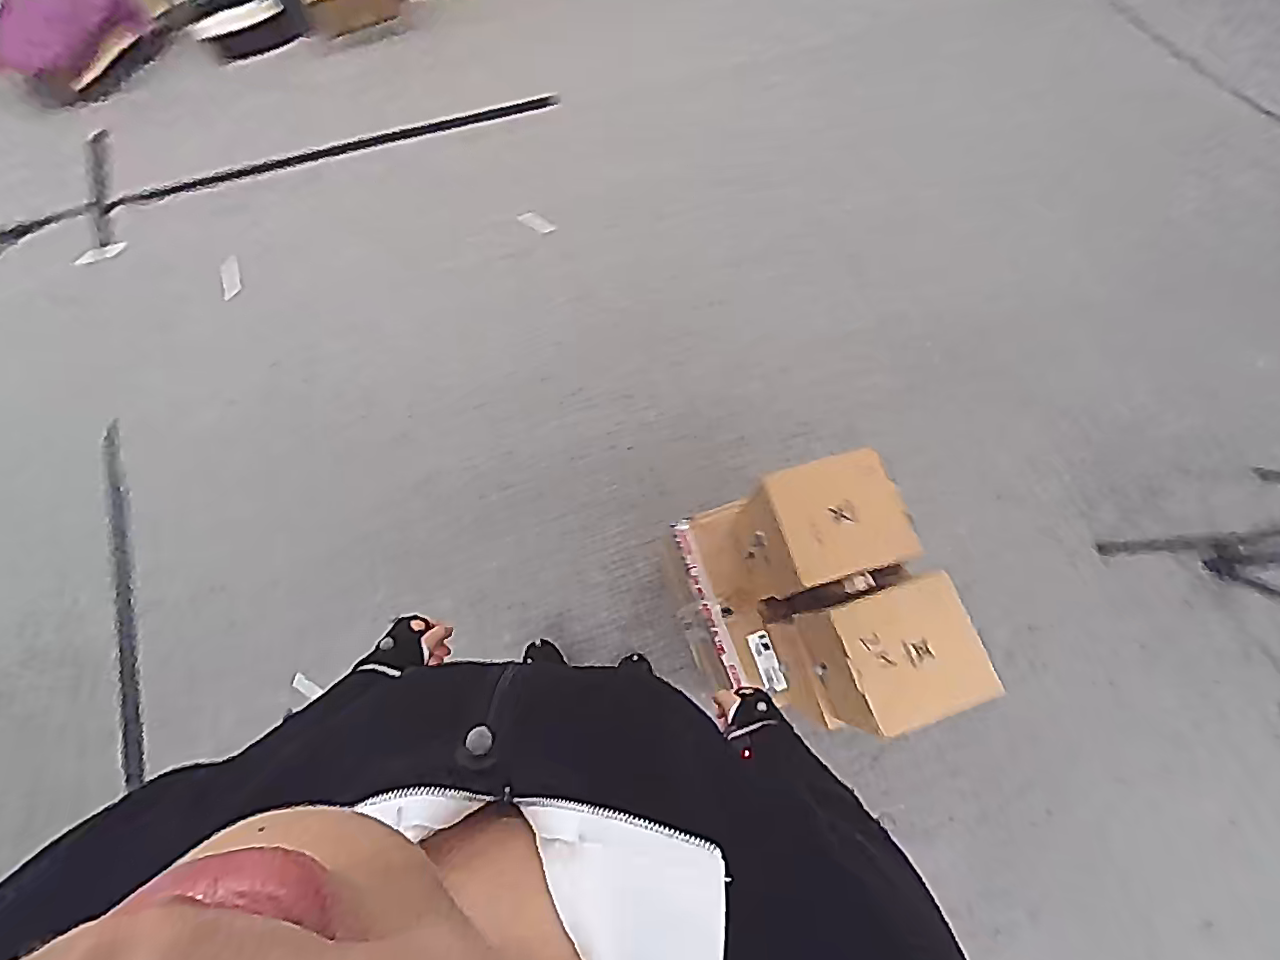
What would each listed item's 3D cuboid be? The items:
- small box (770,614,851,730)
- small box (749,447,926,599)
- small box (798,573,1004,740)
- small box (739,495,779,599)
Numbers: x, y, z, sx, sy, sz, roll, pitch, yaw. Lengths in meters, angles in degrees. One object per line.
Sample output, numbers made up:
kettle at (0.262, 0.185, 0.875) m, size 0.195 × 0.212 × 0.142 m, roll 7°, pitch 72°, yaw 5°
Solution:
small box at (0.345, 0.302, 0.921) m, size 0.179 × 0.176 × 0.168 m, roll -16°, pitch 76°, yaw -4°
small box at (0.282, 0.072, 0.817) m, size 0.179 × 0.176 × 0.168 m, roll -16°, pitch 71°, yaw -3°
small box at (0.353, 0.240, 0.768) m, size 0.179 × 0.176 × 0.168 m, roll -18°, pitch 76°, yaw -5°
small box at (0.287, 0.109, 0.977) m, size 0.179 × 0.176 × 0.168 m, roll -15°, pitch 73°, yaw -3°
